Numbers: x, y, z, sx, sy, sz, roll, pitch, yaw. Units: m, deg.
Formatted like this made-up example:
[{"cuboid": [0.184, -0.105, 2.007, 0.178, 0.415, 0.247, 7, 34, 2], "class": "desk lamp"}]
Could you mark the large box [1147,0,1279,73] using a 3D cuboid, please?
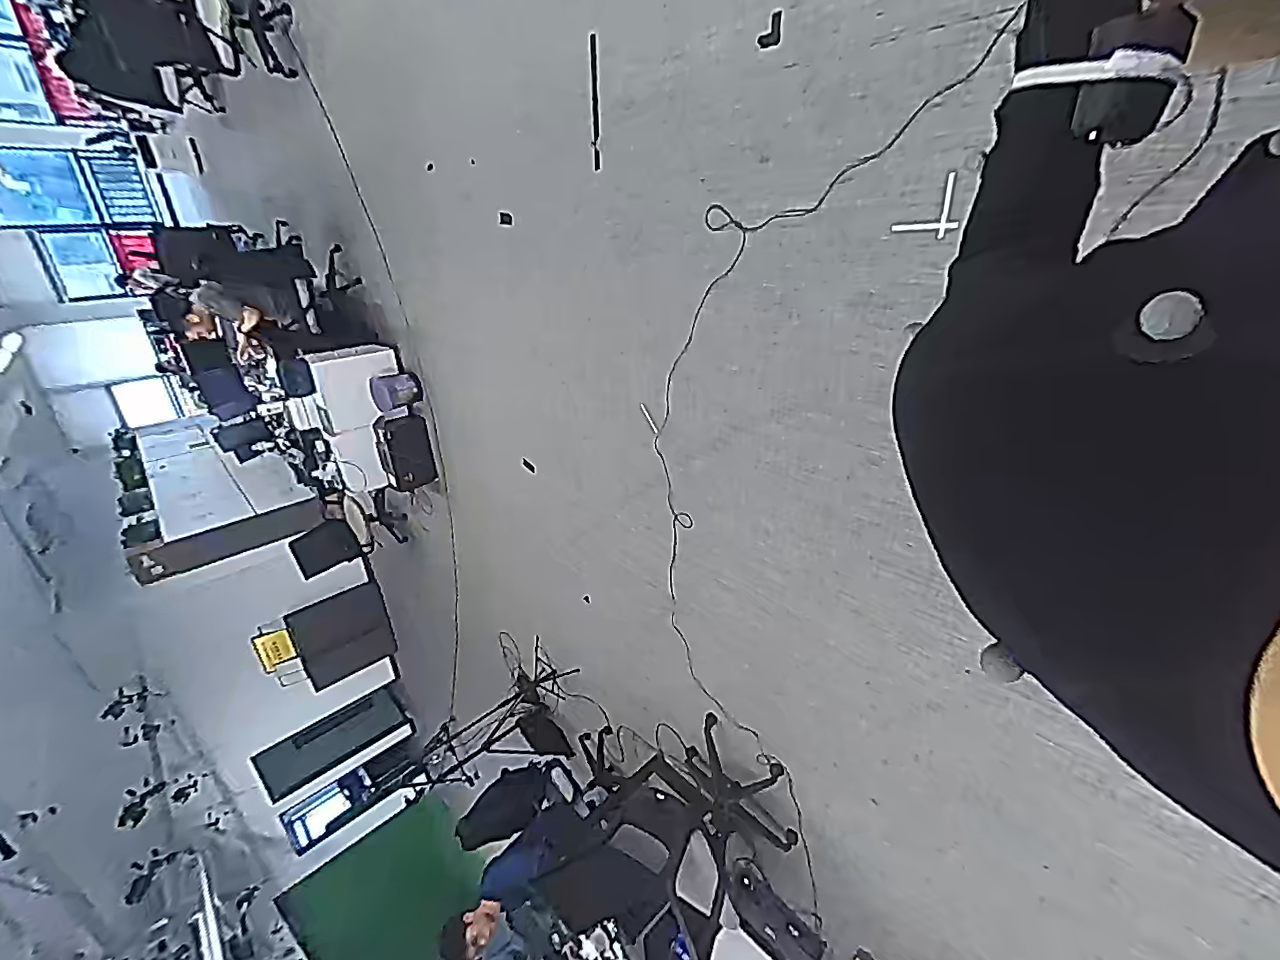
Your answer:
[{"cuboid": [0.546, -0.427, 0.241, 0.408, 0.320, 0.320, 22, 125, 39], "class": "large box"}]
